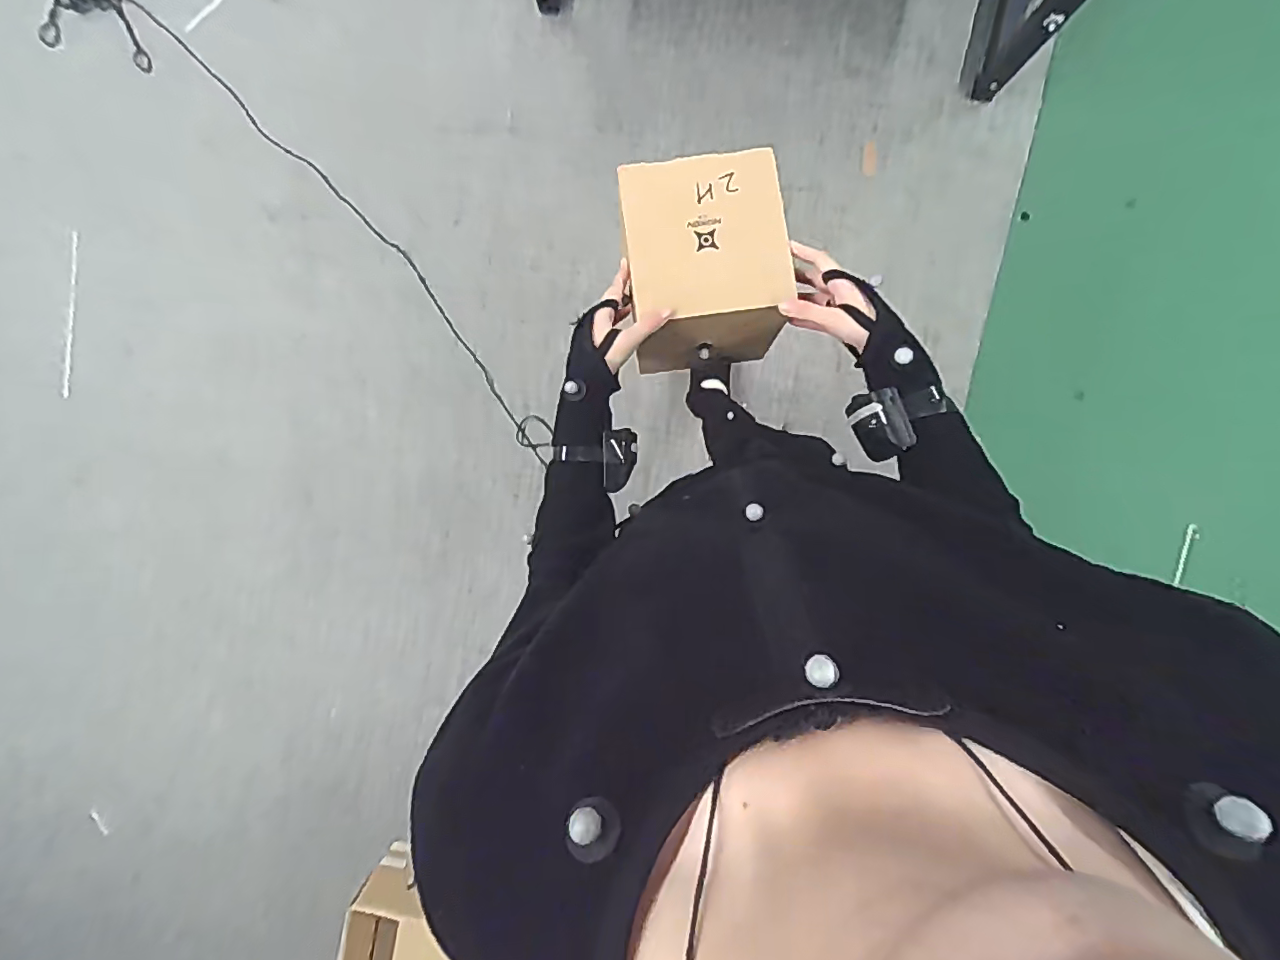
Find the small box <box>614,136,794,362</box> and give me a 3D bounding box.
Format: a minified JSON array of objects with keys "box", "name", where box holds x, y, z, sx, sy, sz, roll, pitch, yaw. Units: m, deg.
[{"box":[0.065,-0.246,0.619,0.168,0.176,0.179,-7,81,0],"name":"small box"}]
